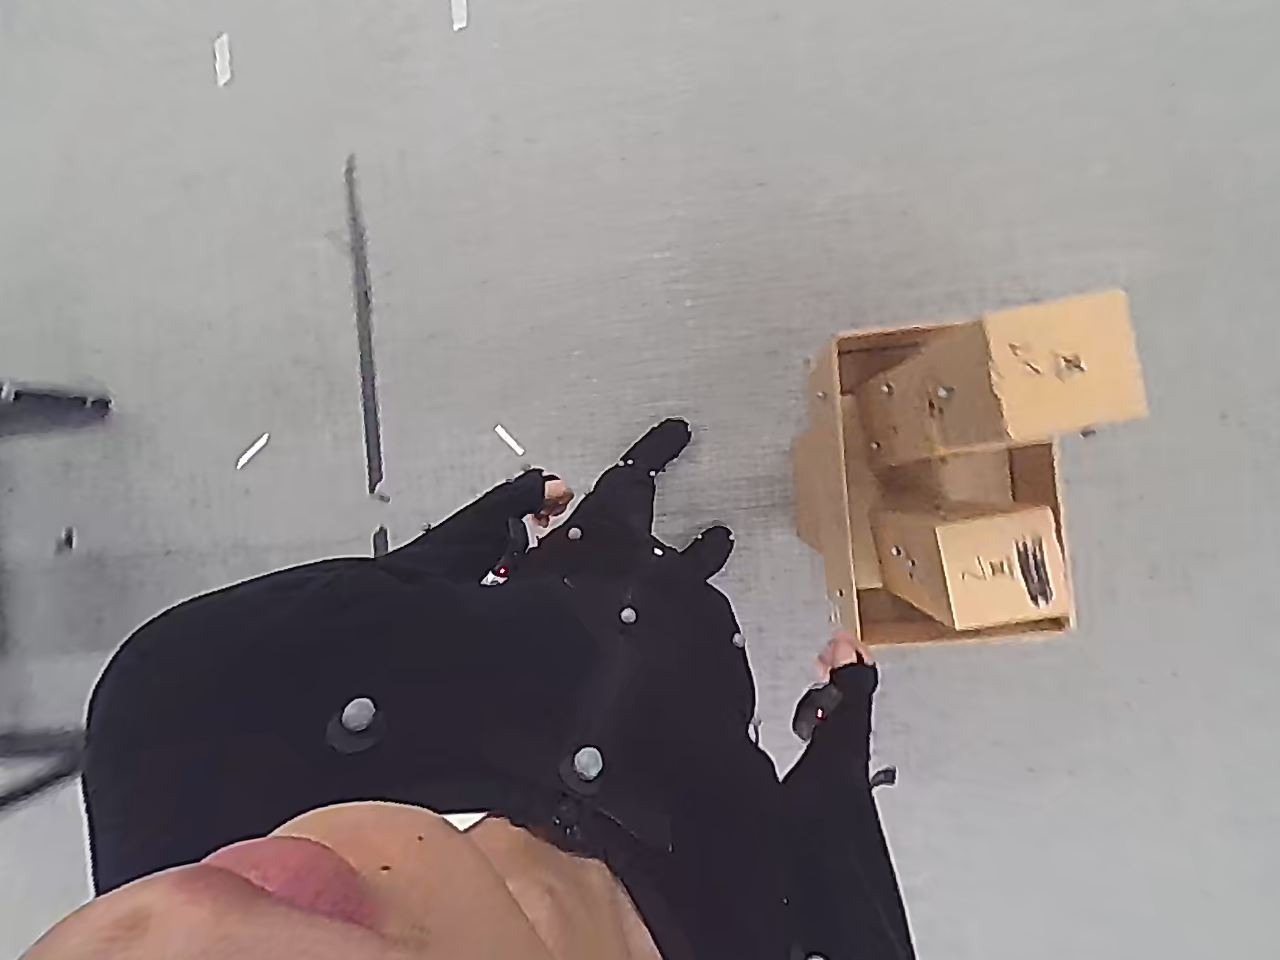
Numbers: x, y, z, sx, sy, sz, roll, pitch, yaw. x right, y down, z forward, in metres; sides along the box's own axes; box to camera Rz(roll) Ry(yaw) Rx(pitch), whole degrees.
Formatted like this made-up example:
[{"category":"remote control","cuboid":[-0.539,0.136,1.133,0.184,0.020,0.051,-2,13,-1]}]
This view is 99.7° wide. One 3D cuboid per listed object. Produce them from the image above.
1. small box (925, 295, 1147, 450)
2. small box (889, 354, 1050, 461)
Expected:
[{"category":"small box","cuboid":[0.534,-0.138,0.752,0.179,0.176,0.168,-10,89,4]},{"category":"small box","cuboid":[0.541,-0.124,0.917,0.179,0.176,0.168,-8,89,4]}]
